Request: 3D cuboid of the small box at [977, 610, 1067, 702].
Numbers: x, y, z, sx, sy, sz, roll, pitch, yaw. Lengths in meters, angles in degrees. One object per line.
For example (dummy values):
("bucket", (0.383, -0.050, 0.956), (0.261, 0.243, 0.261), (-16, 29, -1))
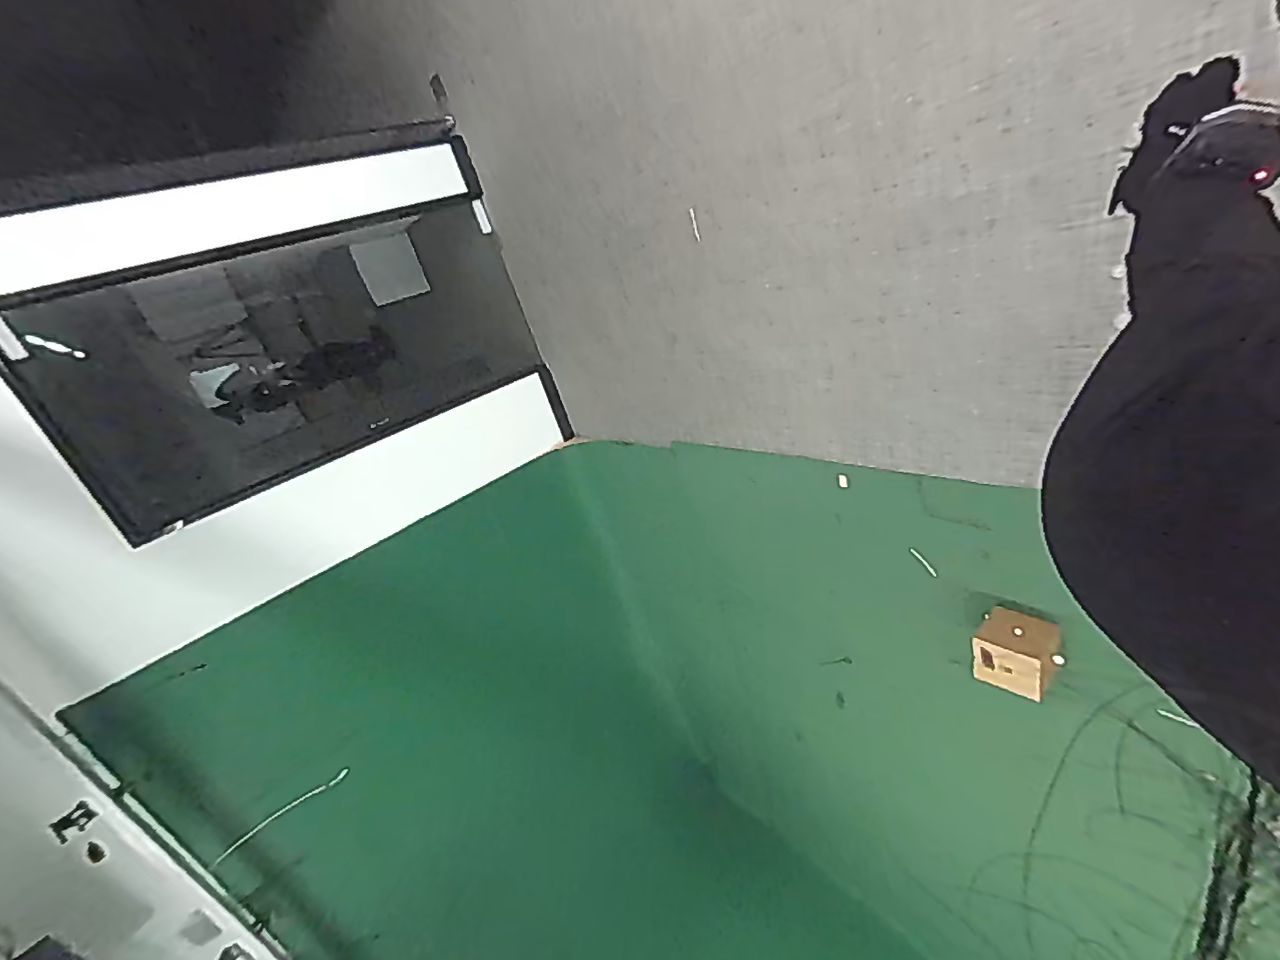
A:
("small box", (1.145, 0.518, 1.624), (0.179, 0.176, 0.168), (15, 130, 50))
